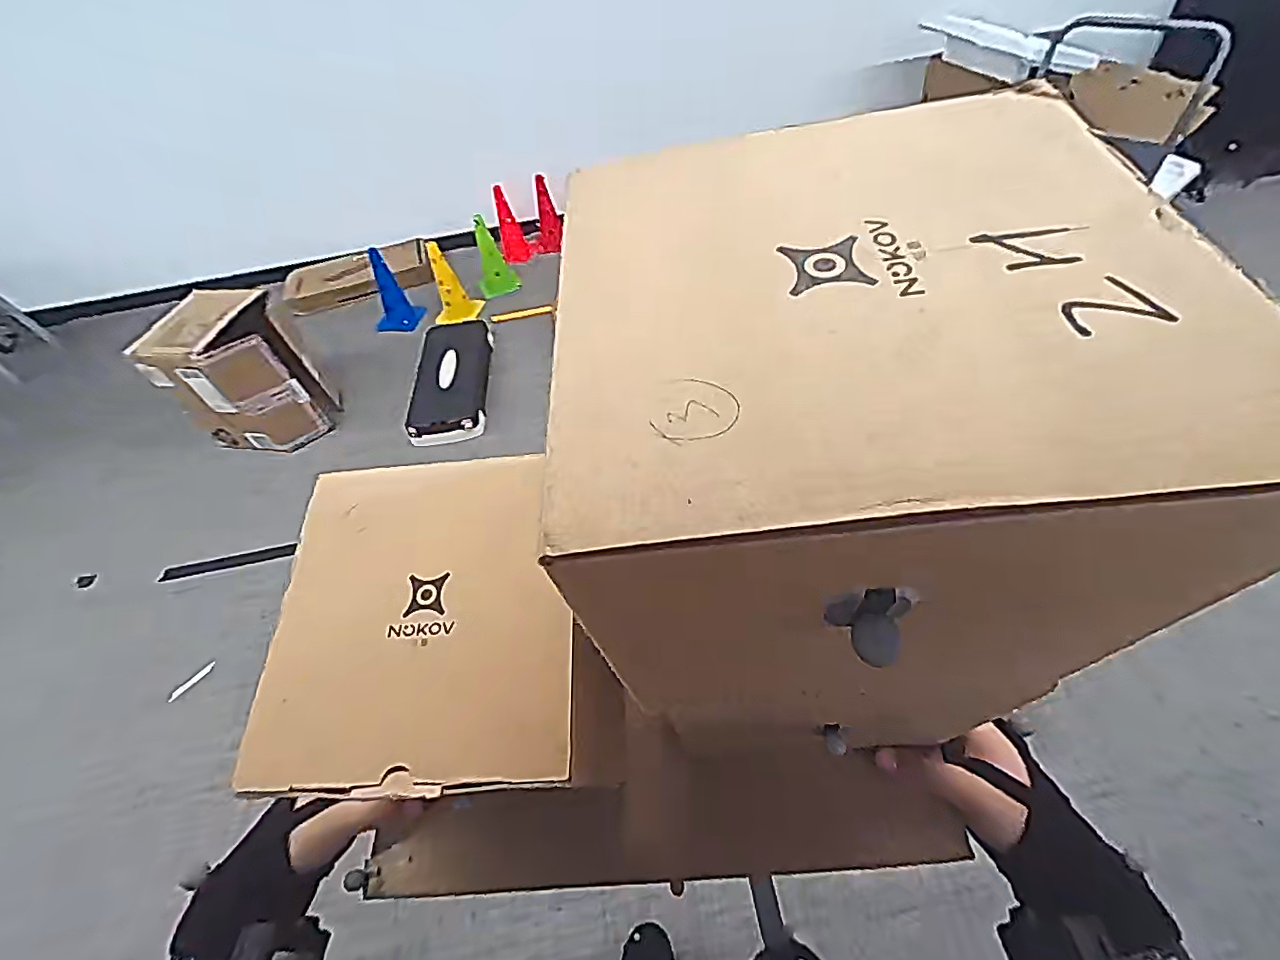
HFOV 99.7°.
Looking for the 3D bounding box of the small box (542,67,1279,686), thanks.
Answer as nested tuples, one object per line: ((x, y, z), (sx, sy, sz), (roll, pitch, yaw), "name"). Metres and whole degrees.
((0.074, -0.023, 0.218), (0.179, 0.176, 0.168), (-6, 56, 6), "small box")
